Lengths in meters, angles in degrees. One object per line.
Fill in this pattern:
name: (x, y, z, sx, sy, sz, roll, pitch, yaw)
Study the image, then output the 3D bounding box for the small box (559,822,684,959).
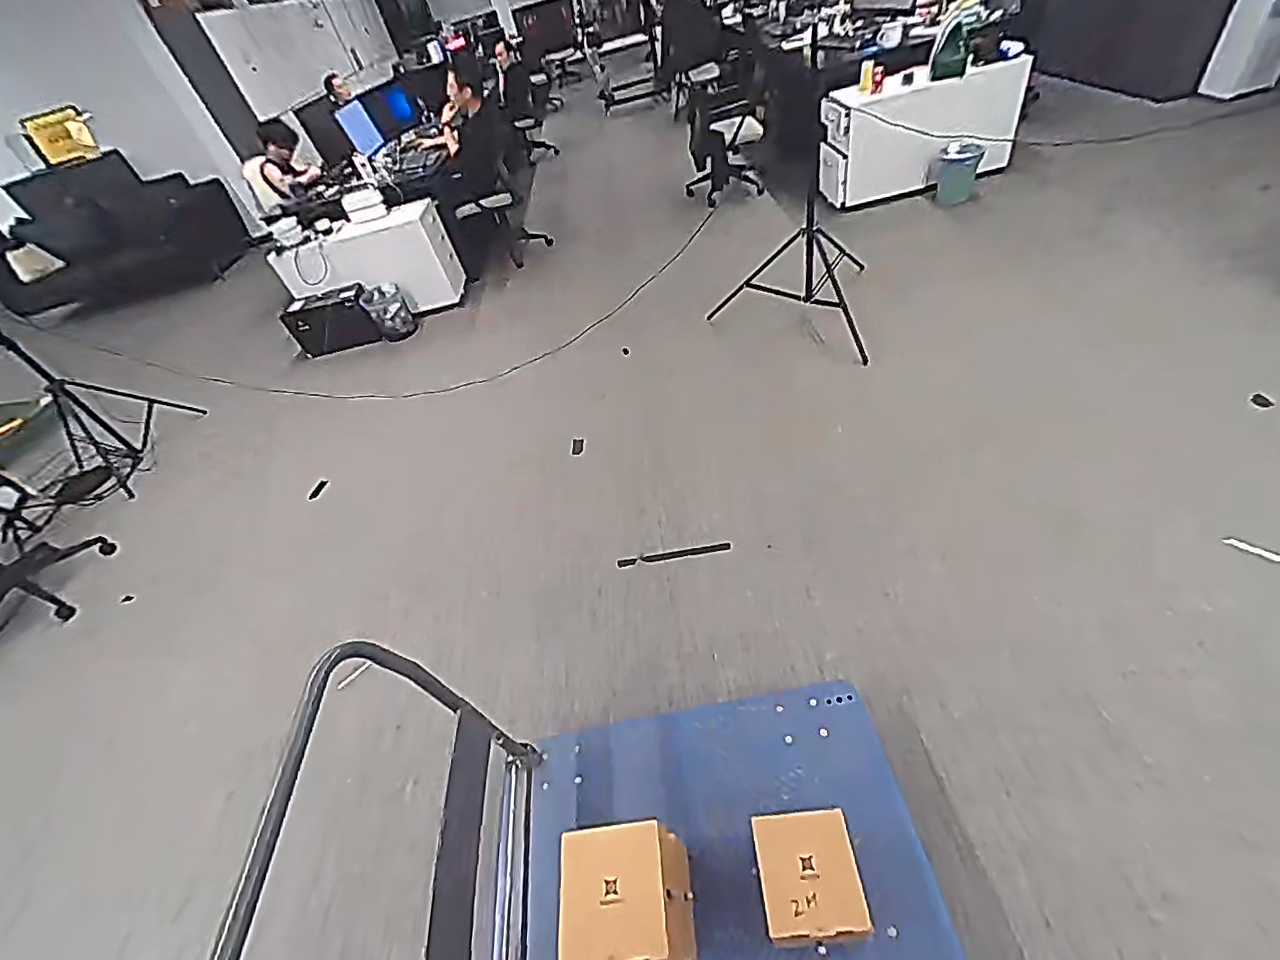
small box: (-0.027, 0.687, 0.882, 0.168, 0.176, 0.179, -11, 45, 5)

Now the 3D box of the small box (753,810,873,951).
small box: (0.304, 0.726, 0.979, 0.168, 0.176, 0.179, -10, 44, 7)
